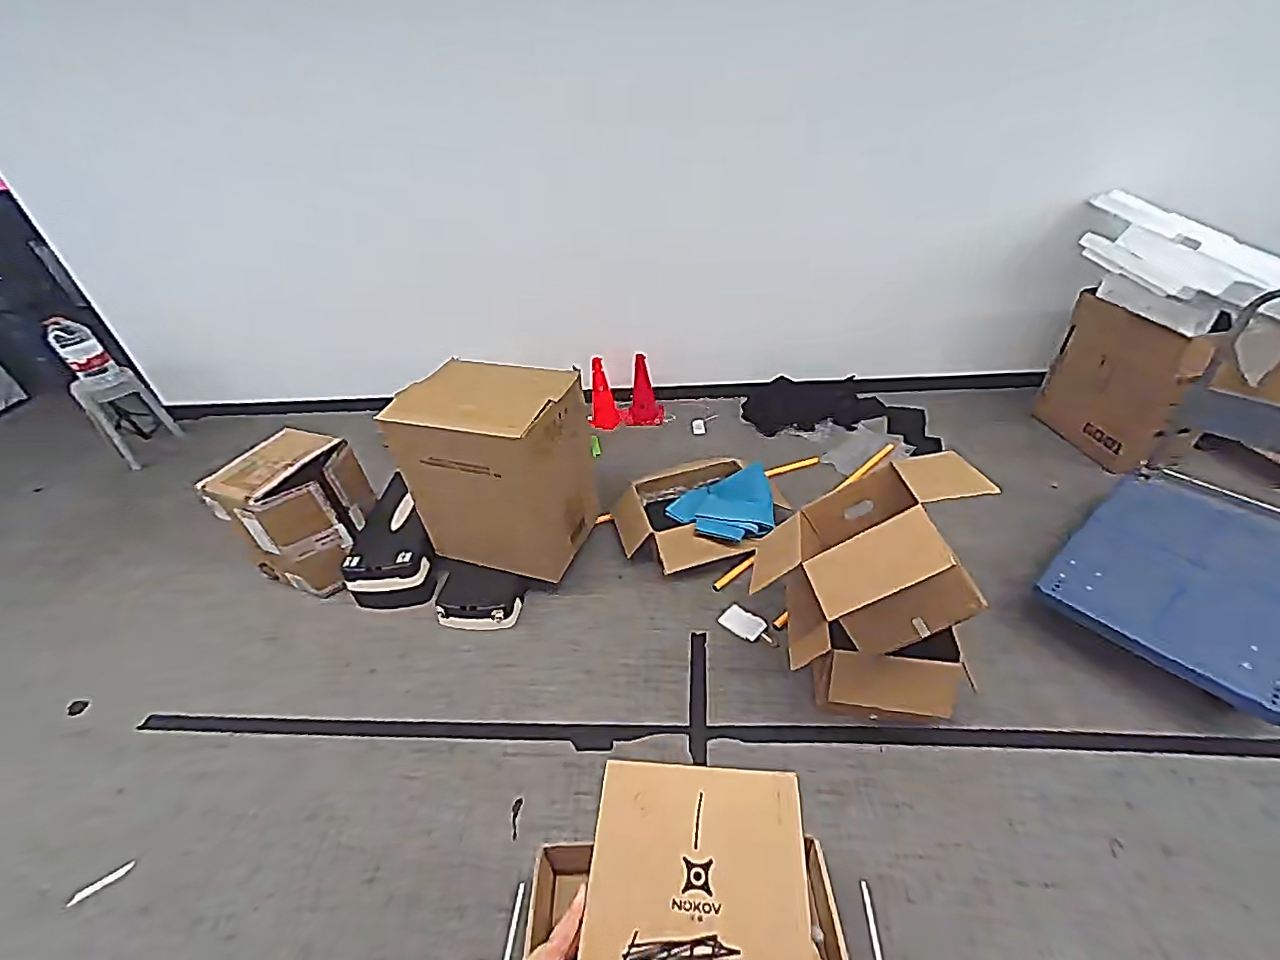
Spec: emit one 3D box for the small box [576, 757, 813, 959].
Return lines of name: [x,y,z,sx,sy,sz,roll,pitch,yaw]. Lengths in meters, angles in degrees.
small box: [0.051,0.360,0.453,0.168,0.176,0.179,-1,42,9]
